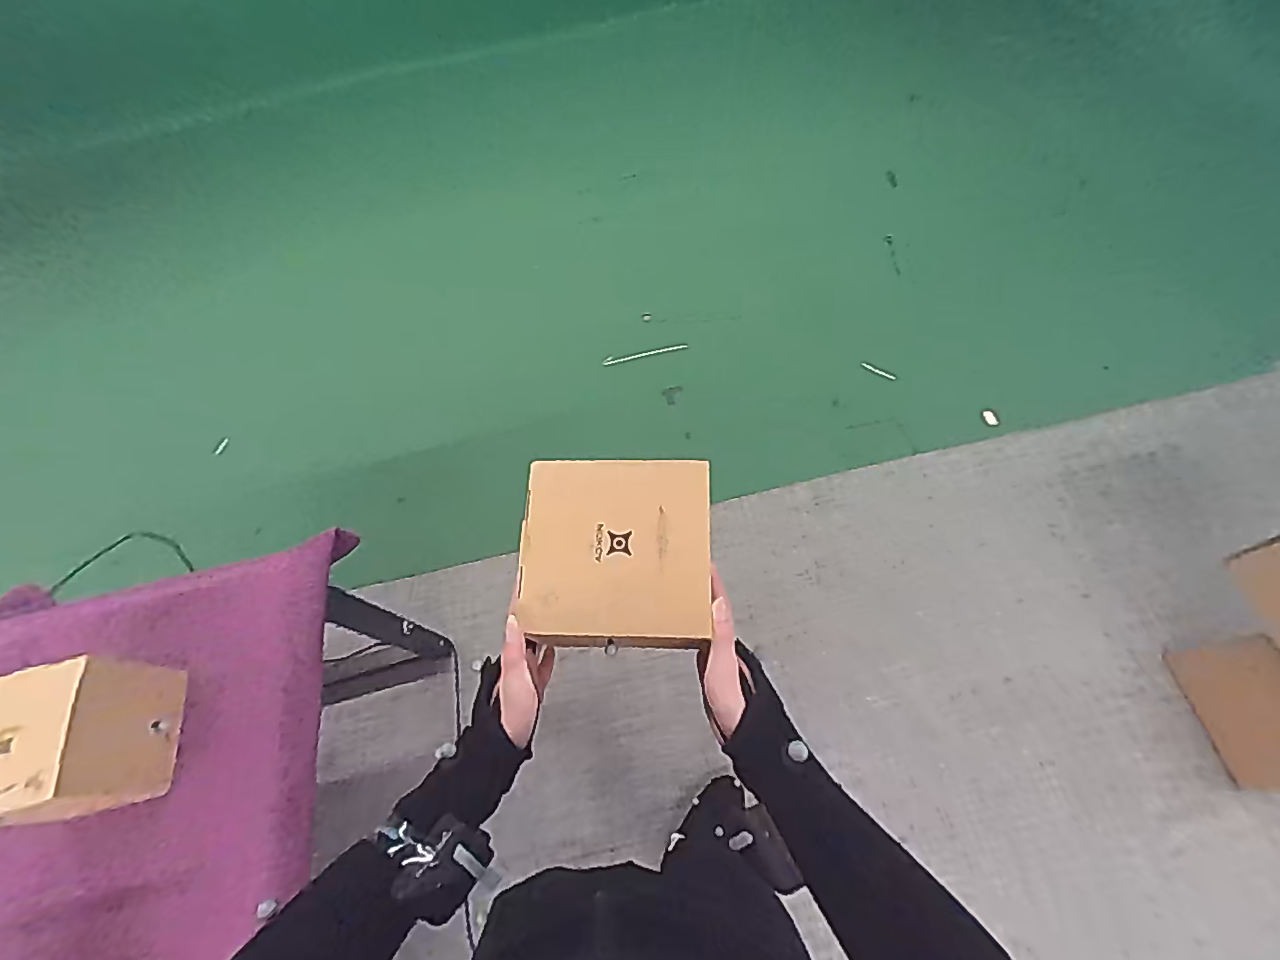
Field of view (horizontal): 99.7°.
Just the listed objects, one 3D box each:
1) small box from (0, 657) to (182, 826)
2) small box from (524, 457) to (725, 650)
[{"bbox_3d":[-0.787,0.363,0.745,0.168,0.176,0.179,-14,62,-1],"label":"small box"},{"bbox_3d":[-0.005,0.085,0.562,0.179,0.176,0.168,1,70,4],"label":"small box"}]
